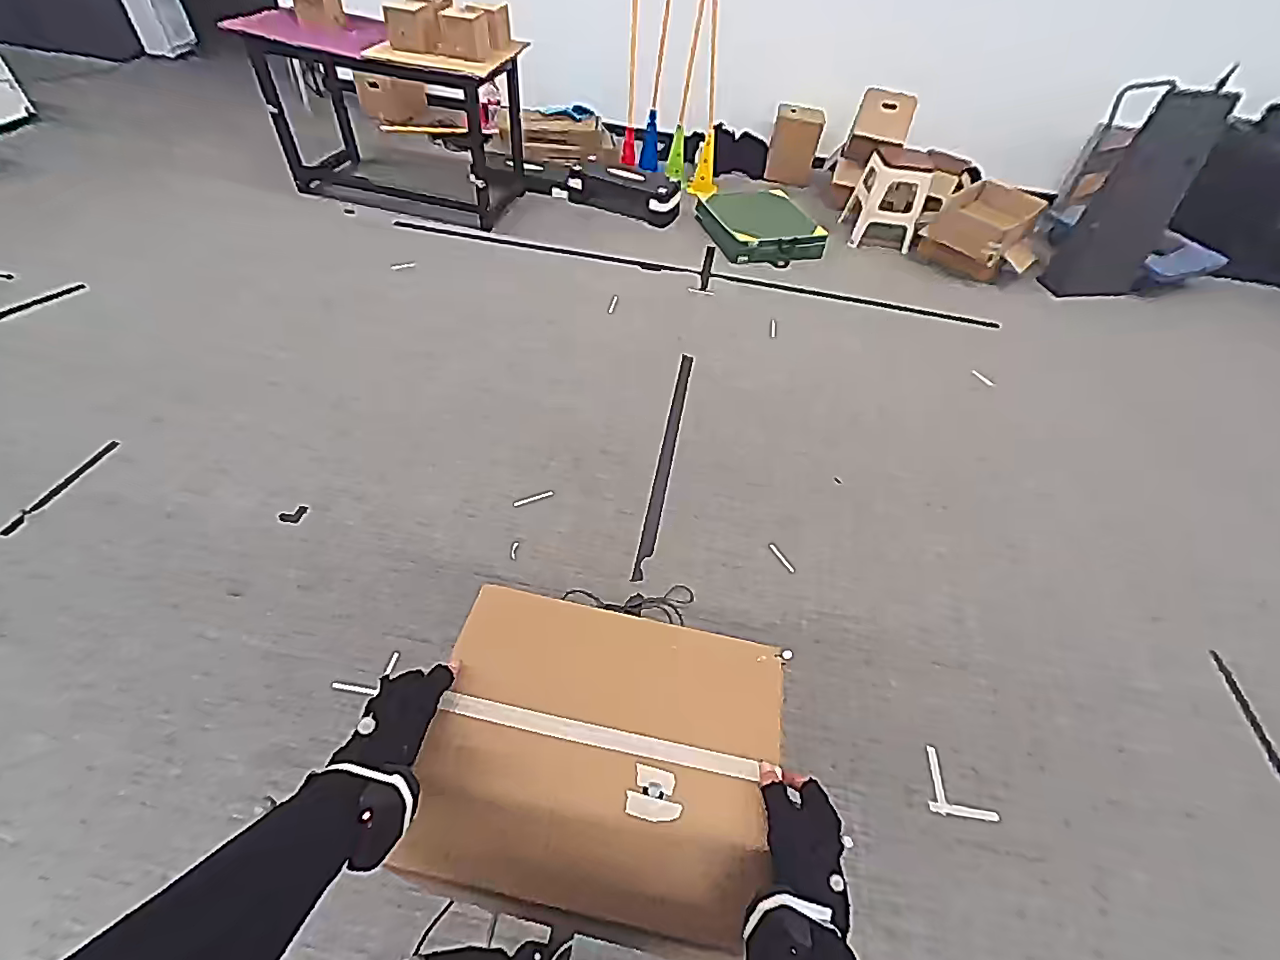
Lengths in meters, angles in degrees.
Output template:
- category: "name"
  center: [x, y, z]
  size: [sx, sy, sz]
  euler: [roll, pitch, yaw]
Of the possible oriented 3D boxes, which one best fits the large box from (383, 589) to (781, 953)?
- category: "large box"
  center: [-0.051, 0.393, 0.733]
  size: [0.408, 0.320, 0.320]
  euler: [12, 49, 4]
